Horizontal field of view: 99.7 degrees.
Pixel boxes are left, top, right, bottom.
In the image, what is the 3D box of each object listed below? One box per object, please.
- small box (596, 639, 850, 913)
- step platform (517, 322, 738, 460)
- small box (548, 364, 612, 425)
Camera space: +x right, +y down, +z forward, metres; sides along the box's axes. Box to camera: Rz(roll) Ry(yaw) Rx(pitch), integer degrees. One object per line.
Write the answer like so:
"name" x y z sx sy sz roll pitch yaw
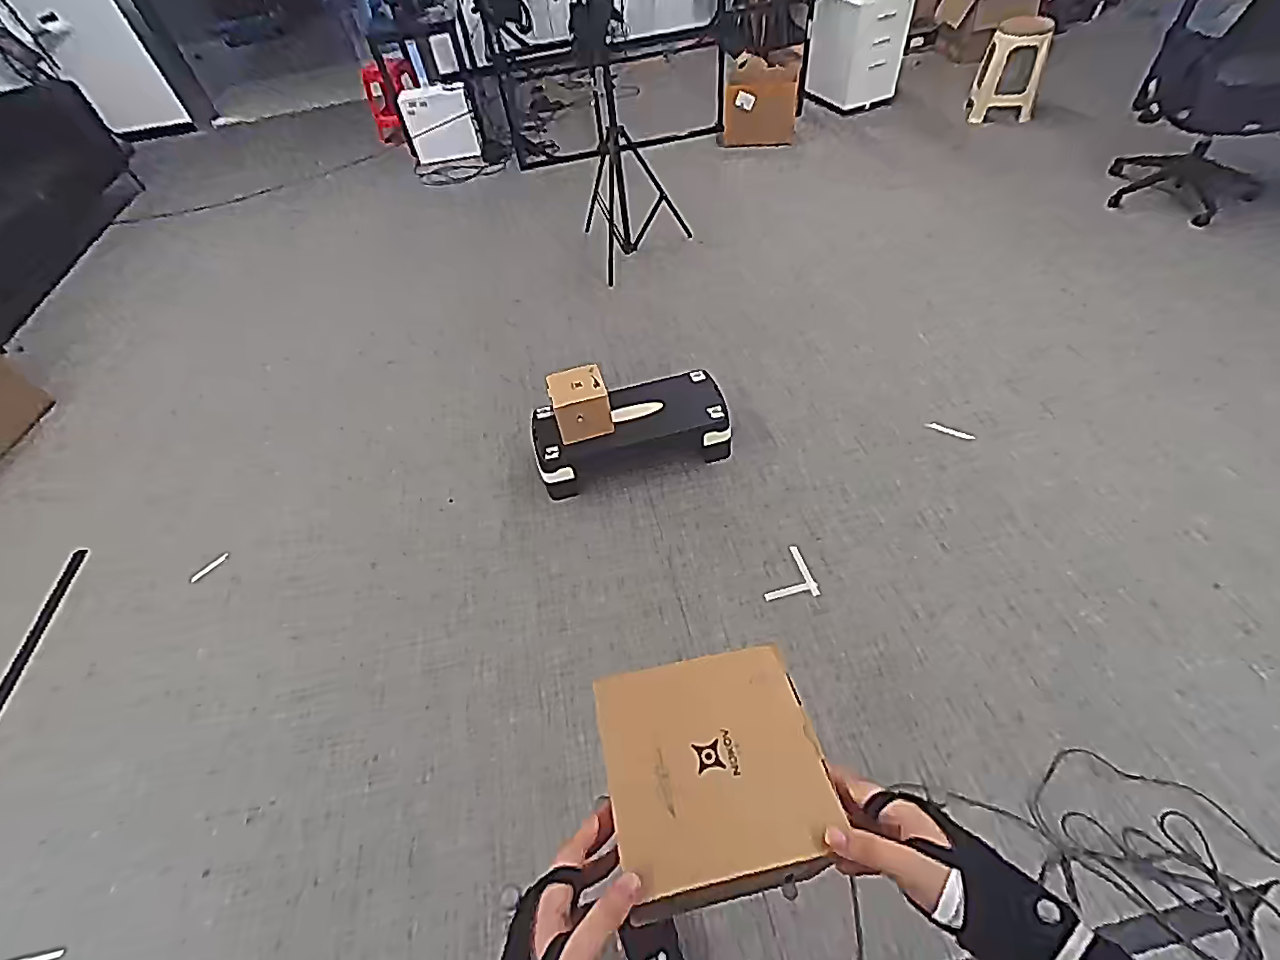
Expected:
"small box" 0.061 0.277 0.508 0.179 0.176 0.168 -11 46 -7
"step platform" -0.037 -0.285 1.744 0.684 0.204 0.286 -14 51 -4
"small box" -0.196 -0.249 1.783 0.179 0.176 0.168 -16 52 -5
